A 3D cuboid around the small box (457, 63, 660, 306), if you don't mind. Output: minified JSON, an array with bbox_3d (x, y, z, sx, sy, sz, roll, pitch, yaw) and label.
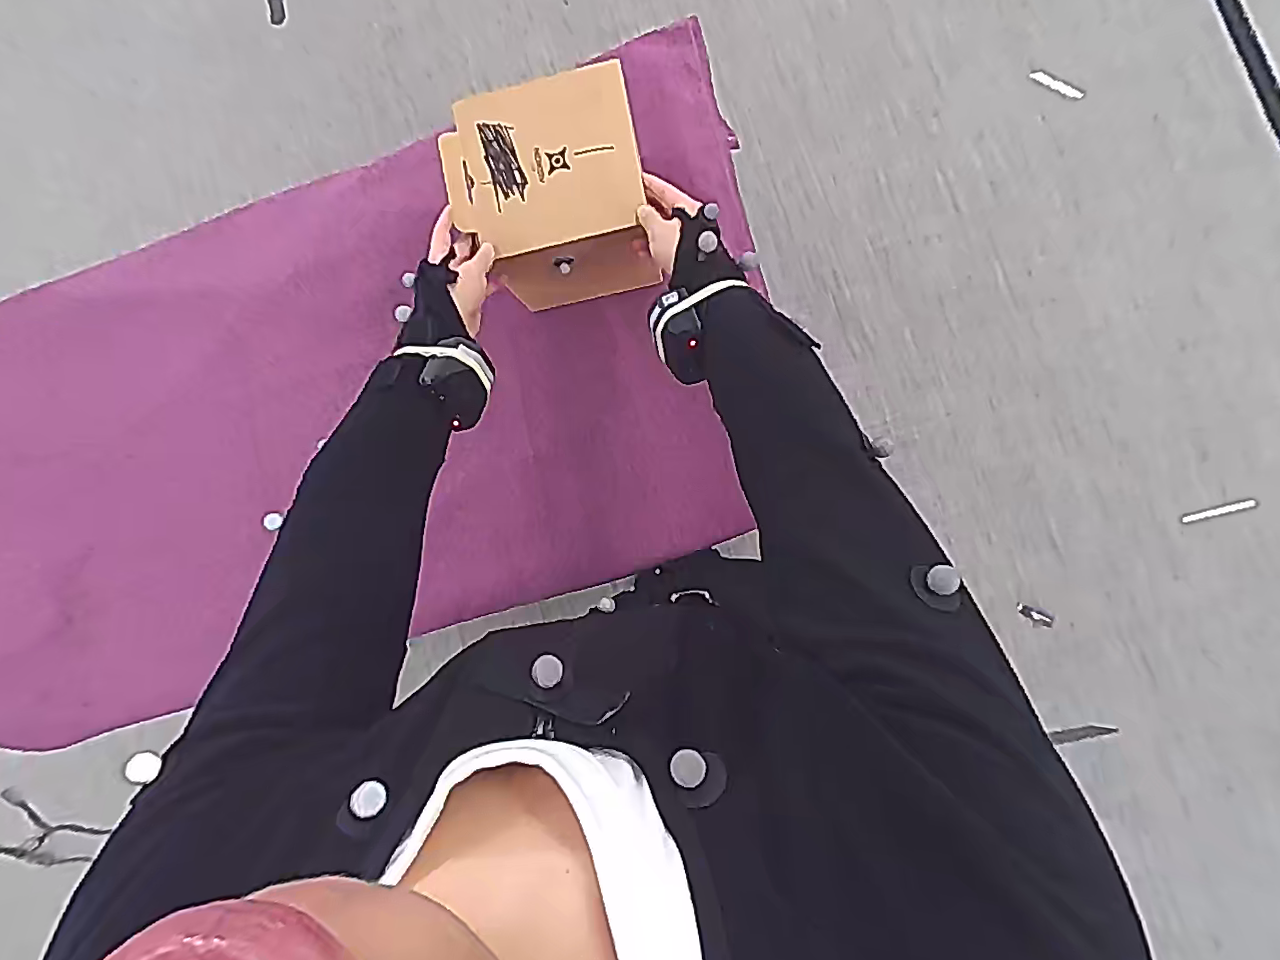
[{"bbox_3d":[-0.080,-0.314,0.617,0.179,0.176,0.168,-11,90,6],"label":"small box"}]
